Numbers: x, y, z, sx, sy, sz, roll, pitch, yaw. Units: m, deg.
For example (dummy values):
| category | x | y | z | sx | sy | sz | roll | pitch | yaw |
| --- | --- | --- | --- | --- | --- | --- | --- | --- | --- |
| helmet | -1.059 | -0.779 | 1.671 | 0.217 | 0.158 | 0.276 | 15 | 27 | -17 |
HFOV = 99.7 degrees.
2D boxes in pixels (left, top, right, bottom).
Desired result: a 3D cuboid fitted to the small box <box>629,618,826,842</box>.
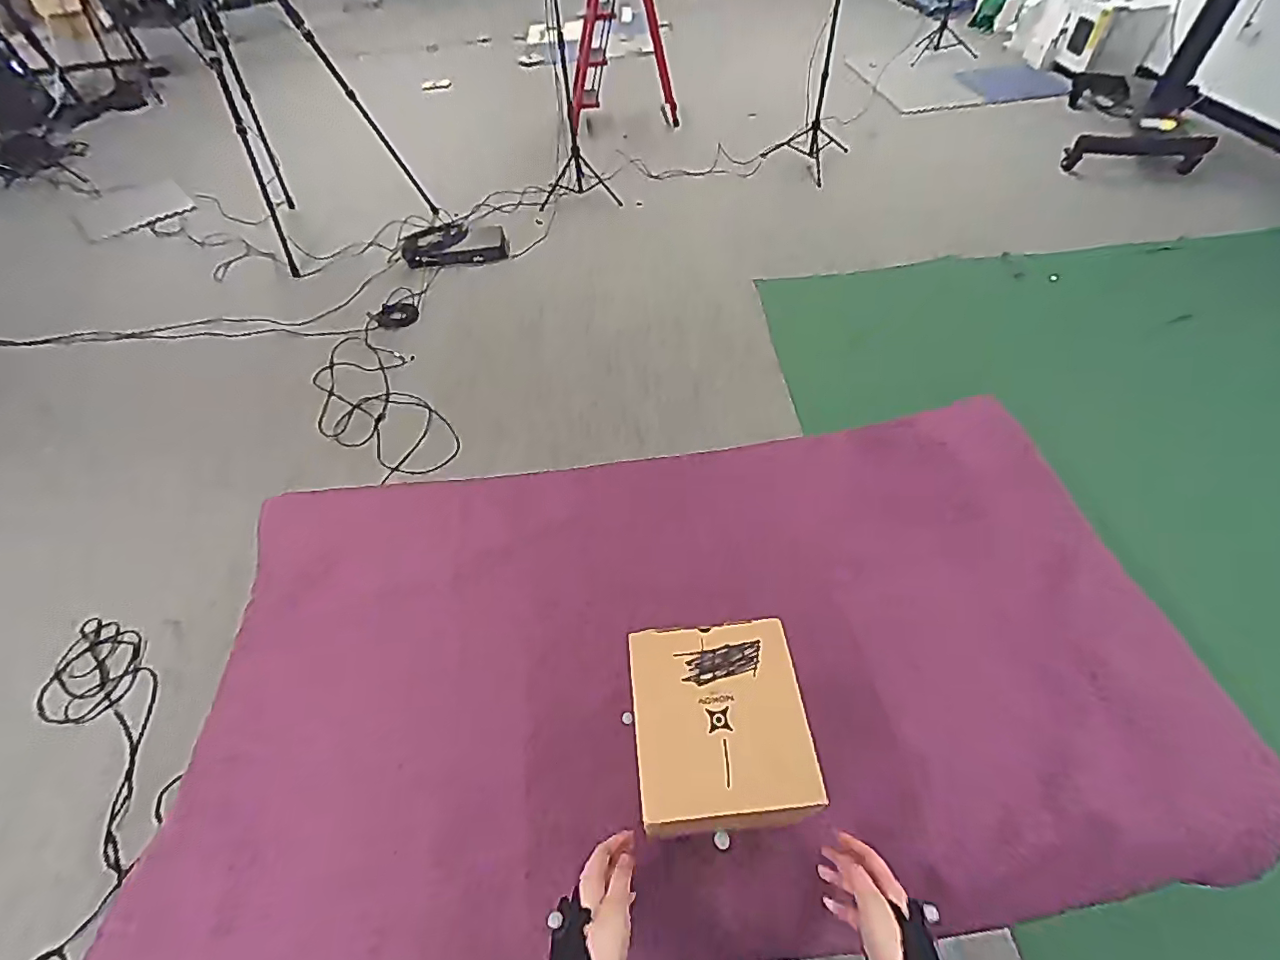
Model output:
| category | x | y | z | sx | sy | sz | roll | pitch | yaw |
| --- | --- | --- | --- | --- | --- | --- | --- | --- | --- |
| small box | 0.077 | 0.269 | 0.577 | 0.168 | 0.176 | 0.179 | -6 | 52 | 0 |
